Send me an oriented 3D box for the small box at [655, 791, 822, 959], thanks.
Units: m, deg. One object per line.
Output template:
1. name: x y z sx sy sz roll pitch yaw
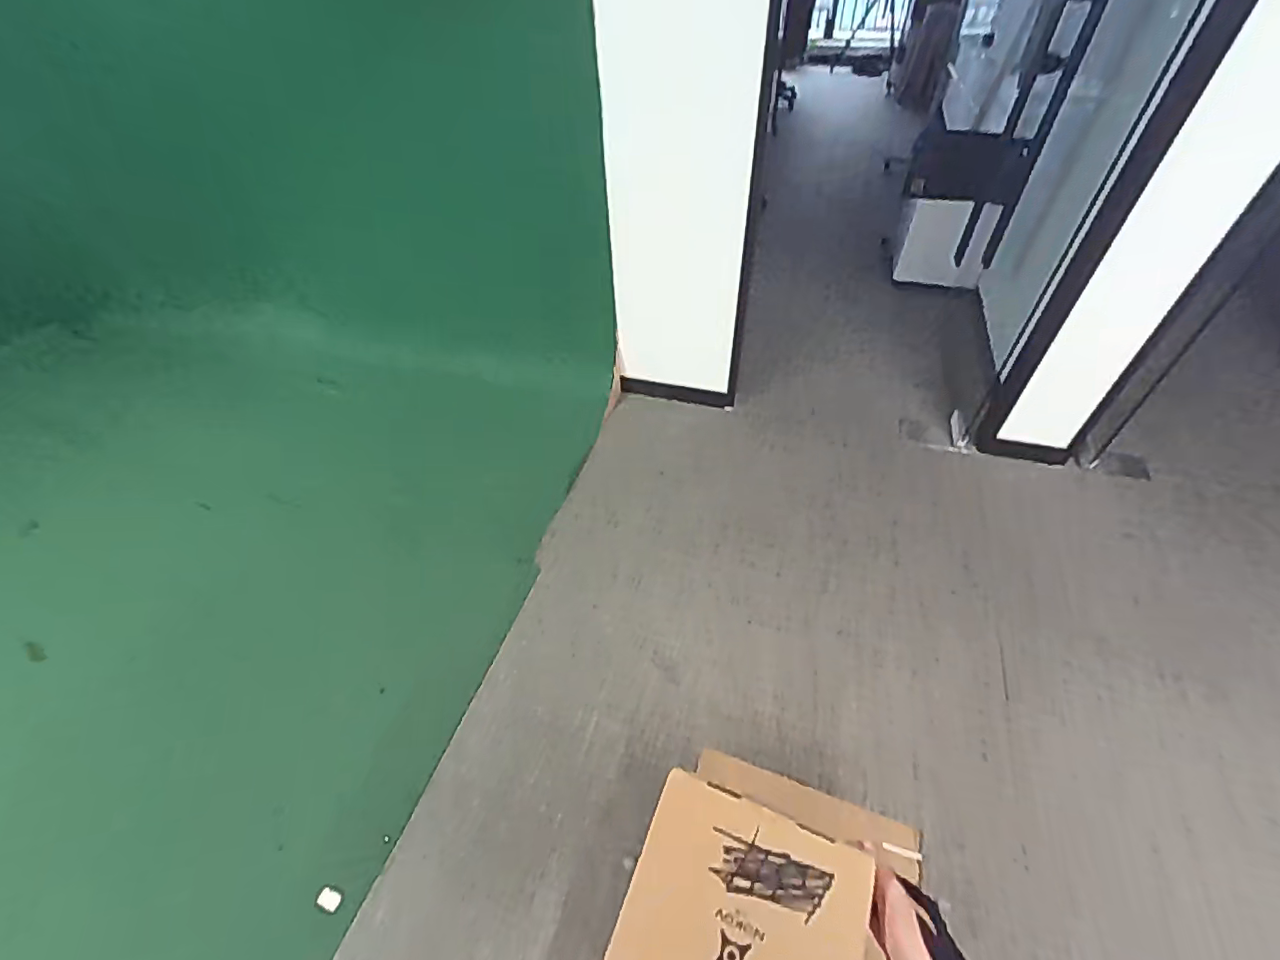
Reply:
1. small box: 0.123 0.546 0.698 0.168 0.176 0.179 15 49 16
